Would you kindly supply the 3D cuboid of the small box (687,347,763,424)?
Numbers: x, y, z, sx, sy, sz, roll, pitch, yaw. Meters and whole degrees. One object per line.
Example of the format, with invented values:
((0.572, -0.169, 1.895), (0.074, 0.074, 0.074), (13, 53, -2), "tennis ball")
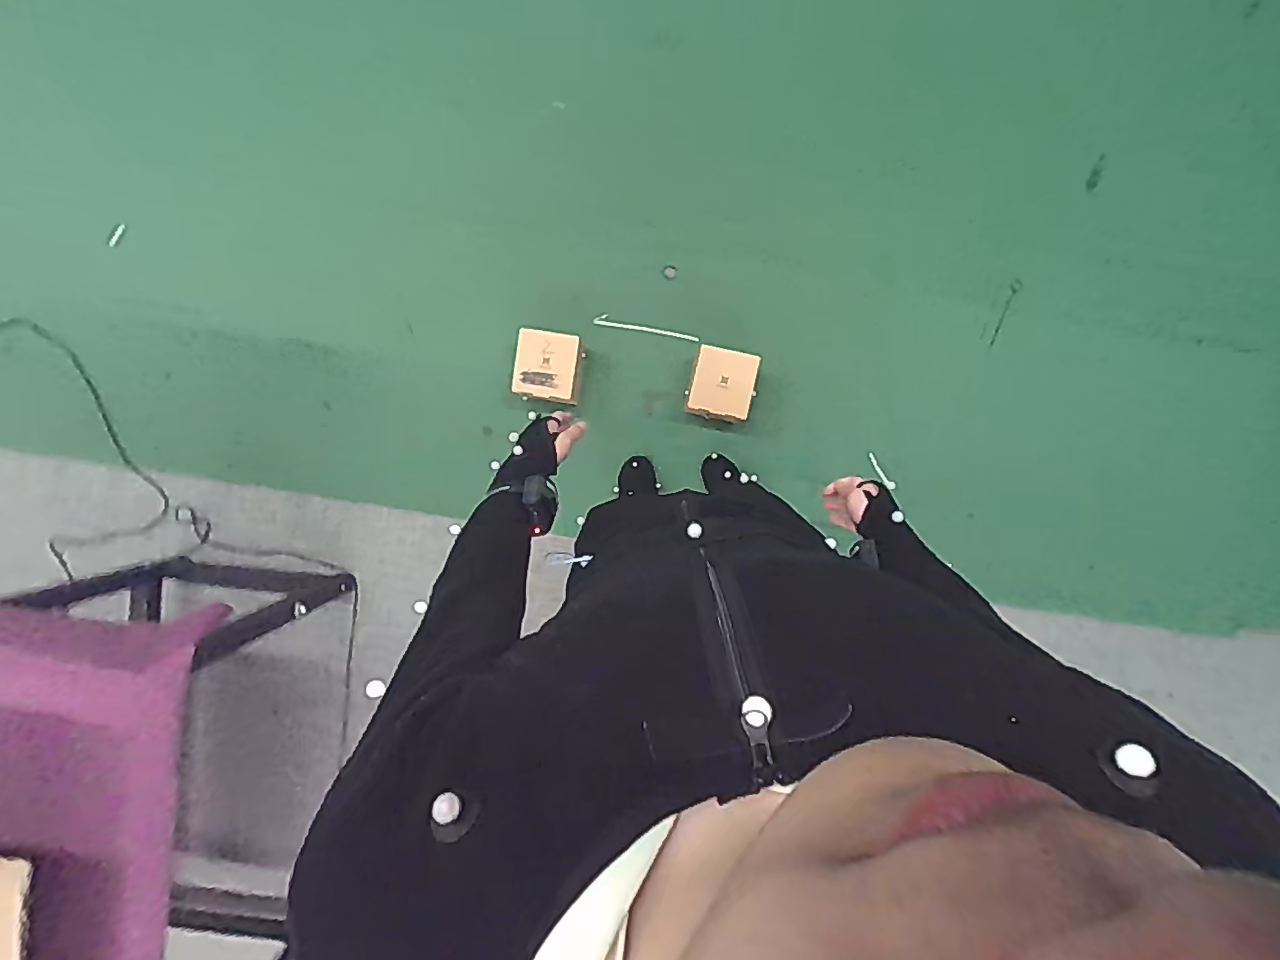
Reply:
((0.233, -0.261, 1.533), (0.168, 0.176, 0.179), (12, 95, 0), "small box")
